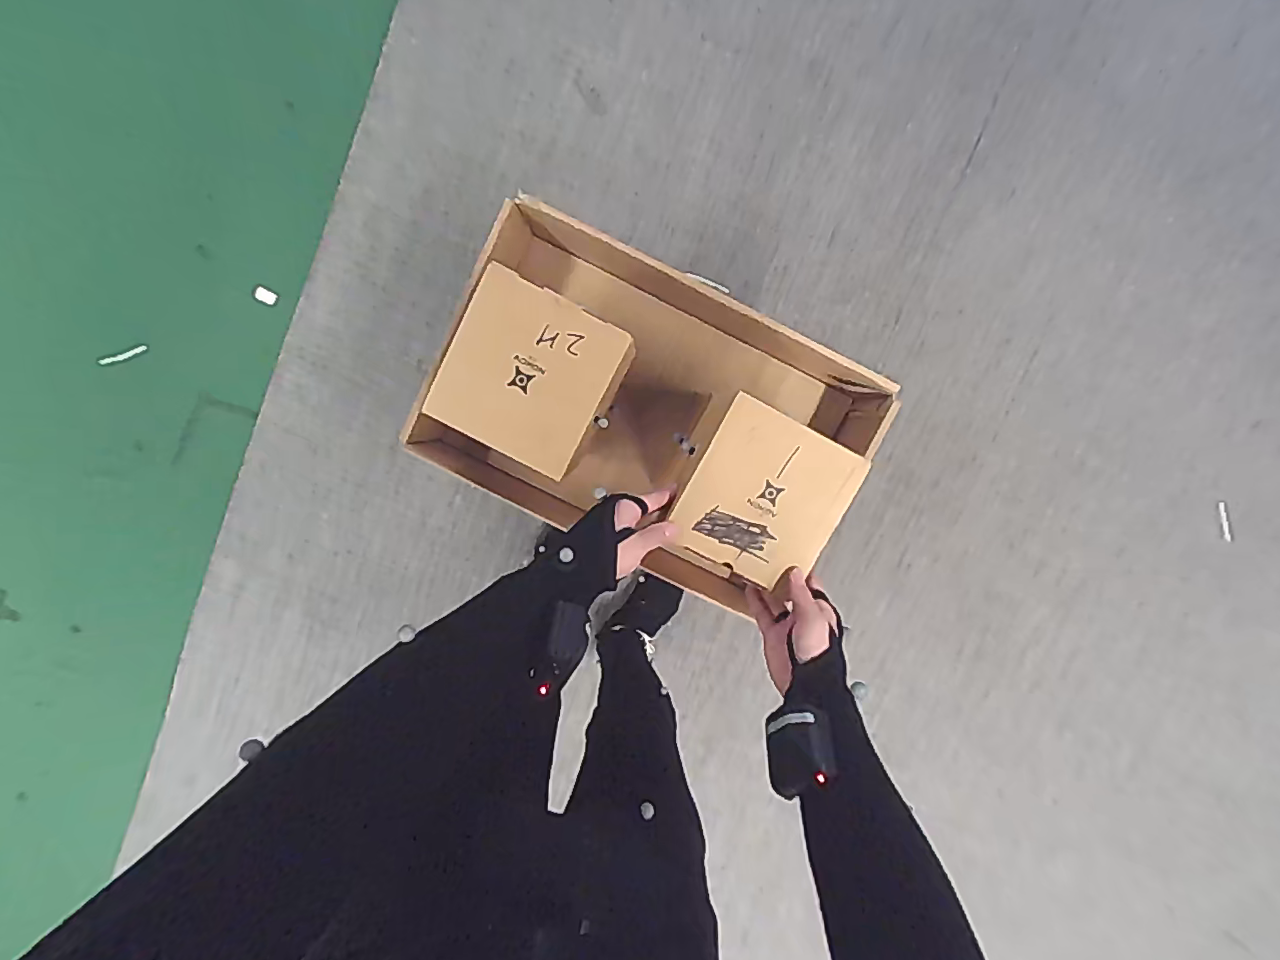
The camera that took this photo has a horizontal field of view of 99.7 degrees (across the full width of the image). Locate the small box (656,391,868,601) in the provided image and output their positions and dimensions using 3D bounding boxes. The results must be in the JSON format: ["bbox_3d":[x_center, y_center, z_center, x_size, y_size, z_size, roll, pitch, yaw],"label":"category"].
[{"bbox_3d":[0.129,0.009,0.650,0.168,0.176,0.179,28,96,-5],"label":"small box"}]

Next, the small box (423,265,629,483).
[{"bbox_3d":[-0.119,-0.117,0.646,0.168,0.176,0.179,28,96,-3],"label":"small box"}]

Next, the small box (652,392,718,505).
[{"bbox_3d":[0.130,-0.016,0.823,0.168,0.176,0.179,27,96,-2],"label":"small box"}]
